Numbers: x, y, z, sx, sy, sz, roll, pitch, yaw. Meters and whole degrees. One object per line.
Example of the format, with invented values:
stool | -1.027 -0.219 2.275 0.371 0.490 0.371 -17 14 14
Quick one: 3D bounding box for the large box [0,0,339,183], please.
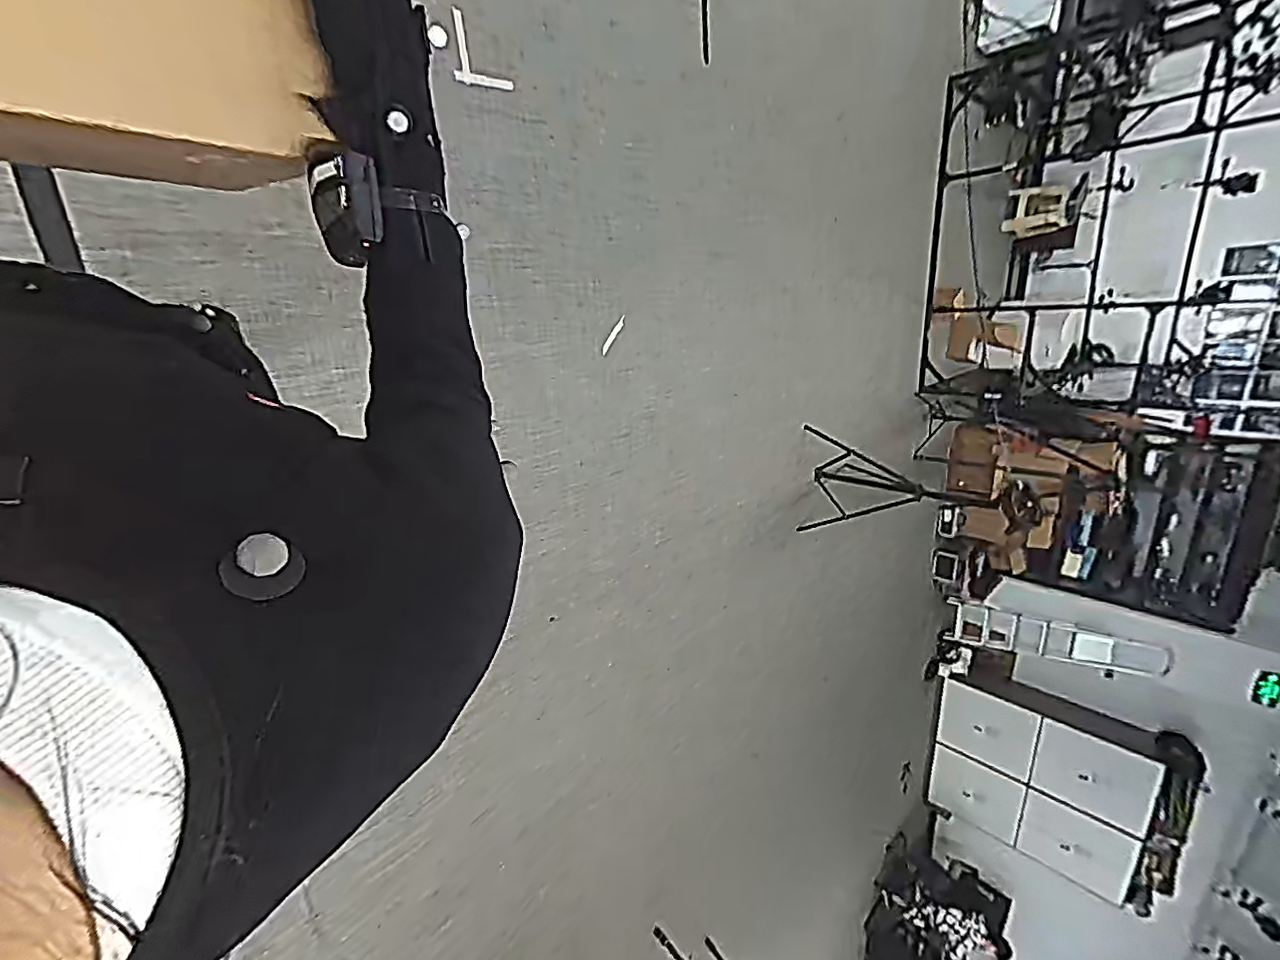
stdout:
large box | -0.460 -0.374 0.304 0.408 0.320 0.320 -18 121 -44
